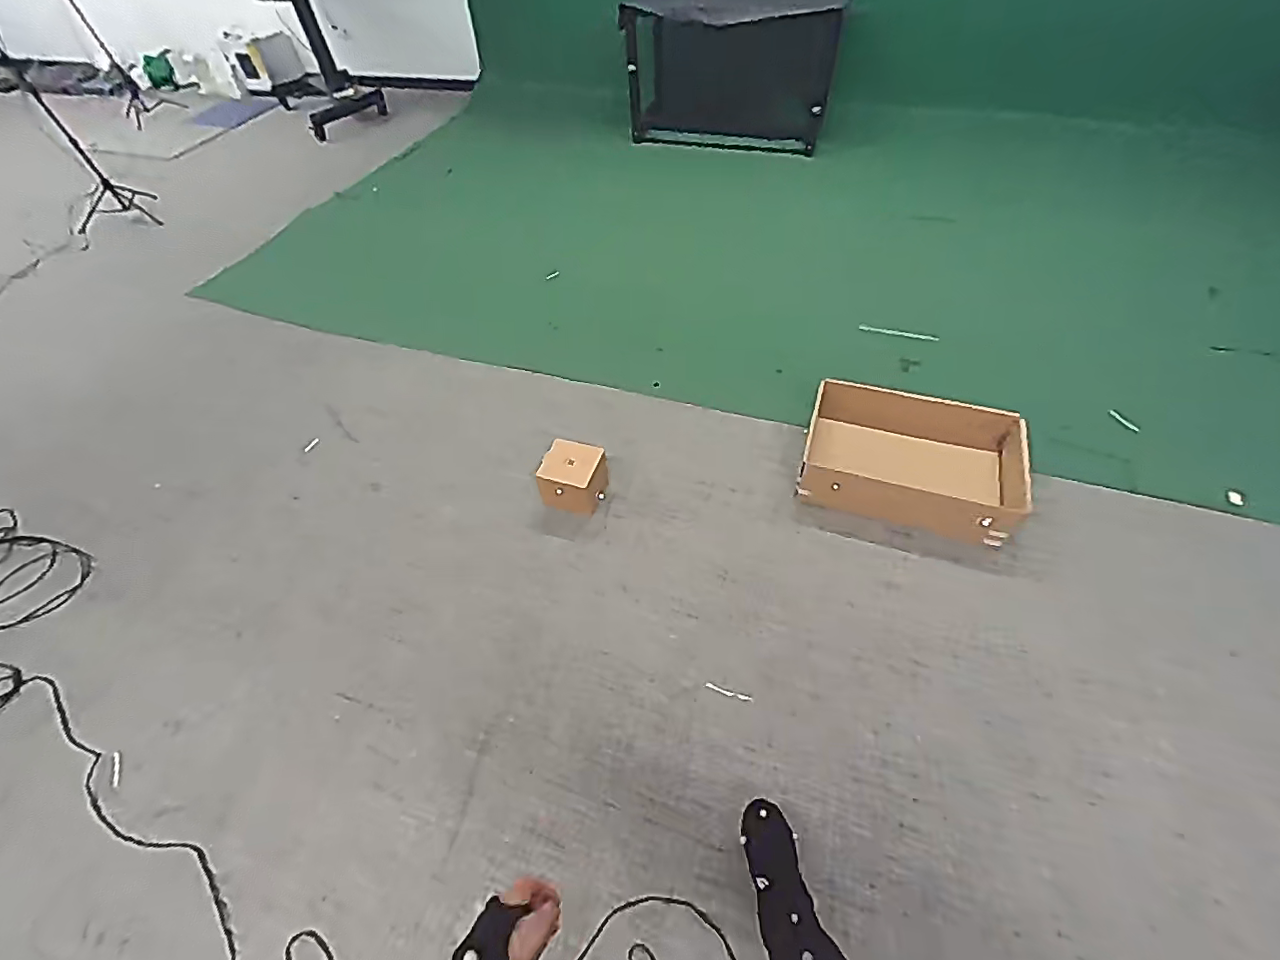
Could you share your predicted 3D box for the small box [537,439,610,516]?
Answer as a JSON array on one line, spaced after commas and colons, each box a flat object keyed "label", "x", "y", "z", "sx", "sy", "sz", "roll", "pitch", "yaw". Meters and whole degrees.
[{"label": "small box", "x": -0.210, "y": -0.004, "z": 1.755, "sx": 0.179, "sy": 0.176, "sz": 0.168, "roll": 13, "pitch": 55, "yaw": 12}]
